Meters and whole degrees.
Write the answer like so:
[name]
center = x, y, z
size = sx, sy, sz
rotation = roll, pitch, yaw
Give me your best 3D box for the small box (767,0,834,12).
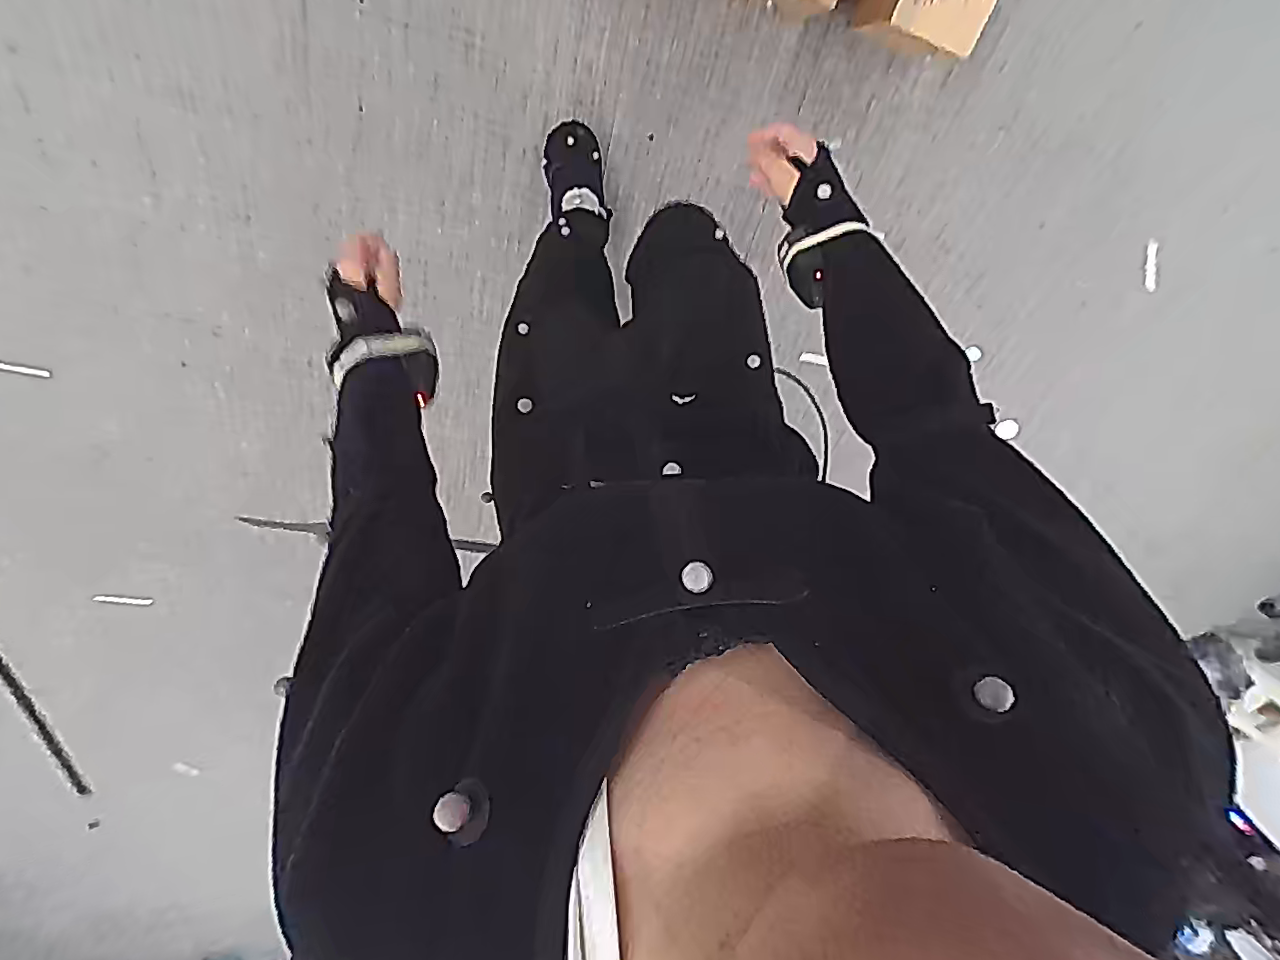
[small box]
center = 0.265, -0.929, 0.906
size = 0.168, 0.176, 0.179
rotation = 11, 124, -15
